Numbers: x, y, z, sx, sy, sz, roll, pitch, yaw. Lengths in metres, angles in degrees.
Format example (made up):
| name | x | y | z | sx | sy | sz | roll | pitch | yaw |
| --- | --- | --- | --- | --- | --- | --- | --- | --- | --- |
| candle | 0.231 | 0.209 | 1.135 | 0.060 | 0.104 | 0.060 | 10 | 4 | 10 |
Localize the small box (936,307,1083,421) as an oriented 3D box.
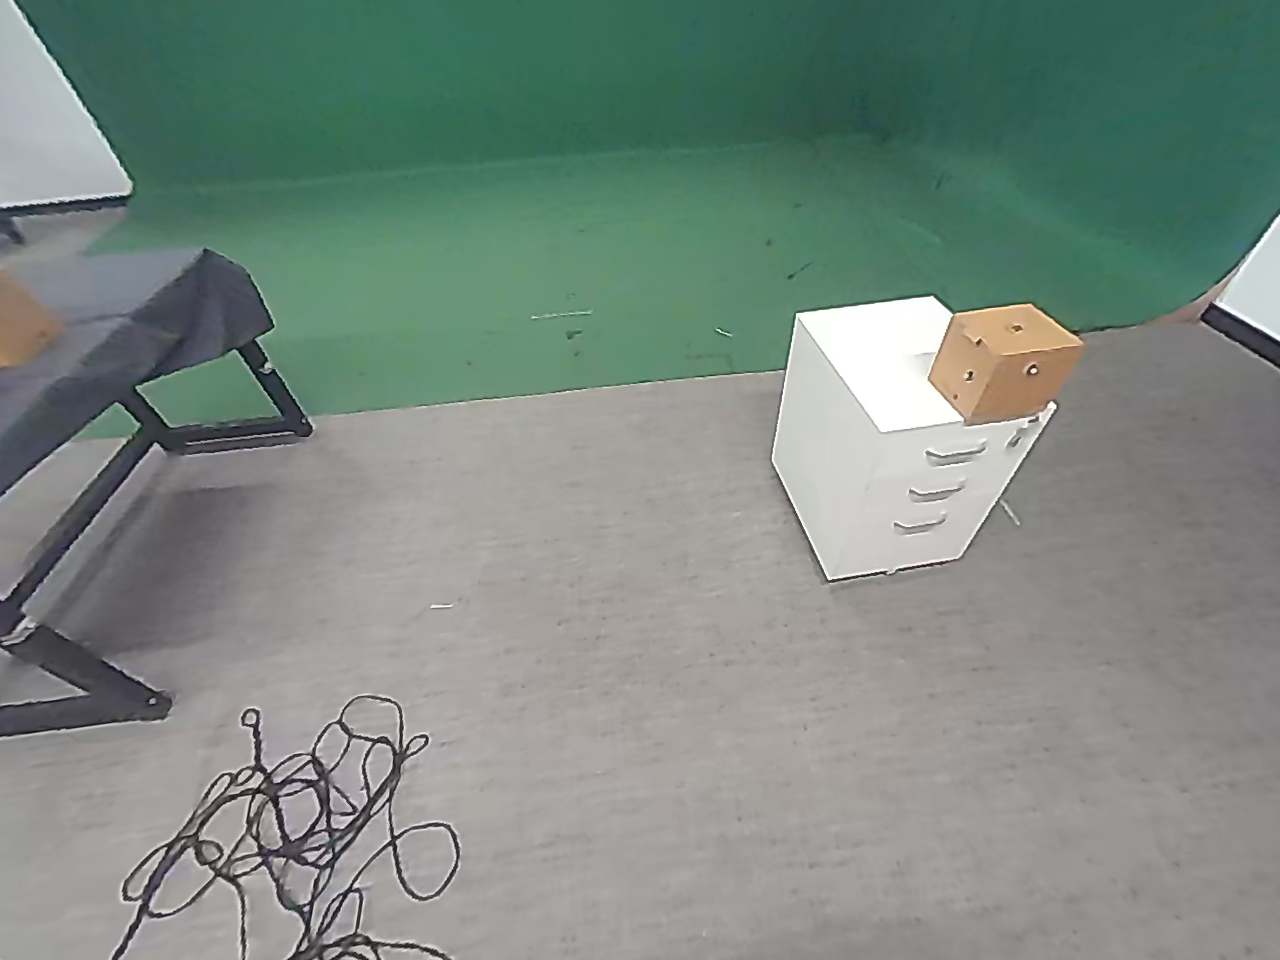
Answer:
| name | x | y | z | sx | sy | sz | roll | pitch | yaw |
| --- | --- | --- | --- | --- | --- | --- | --- | --- | --- |
| small box | 0.753 | -0.239 | 1.133 | 0.179 | 0.176 | 0.168 | -8 | 46 | -4 |
